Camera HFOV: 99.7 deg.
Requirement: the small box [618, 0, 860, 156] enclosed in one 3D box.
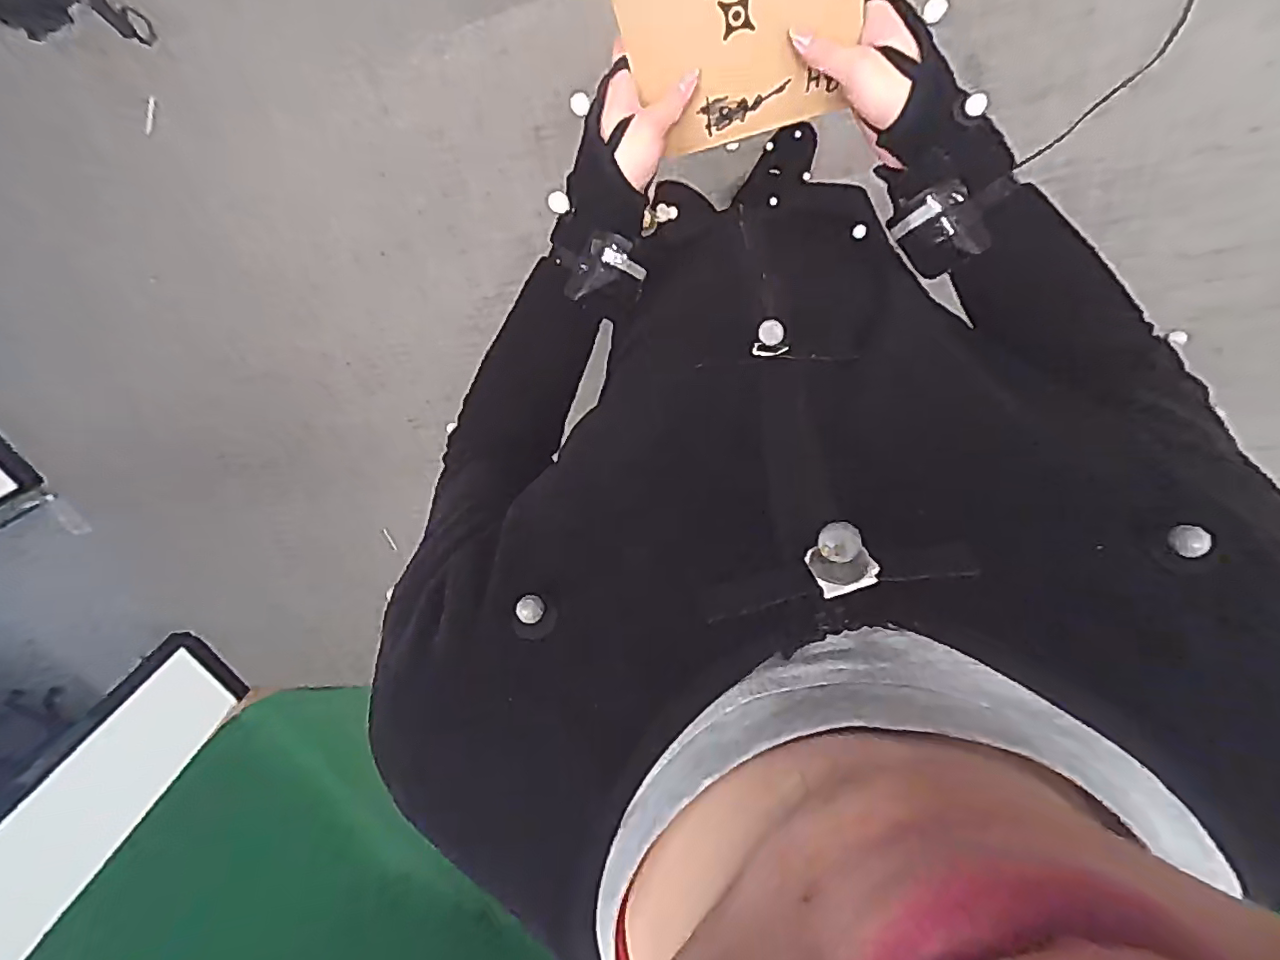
[{"bbox_3d":[0.072,-0.397,0.423,0.168,0.176,0.179,-7,140,16],"label":"small box"}]
